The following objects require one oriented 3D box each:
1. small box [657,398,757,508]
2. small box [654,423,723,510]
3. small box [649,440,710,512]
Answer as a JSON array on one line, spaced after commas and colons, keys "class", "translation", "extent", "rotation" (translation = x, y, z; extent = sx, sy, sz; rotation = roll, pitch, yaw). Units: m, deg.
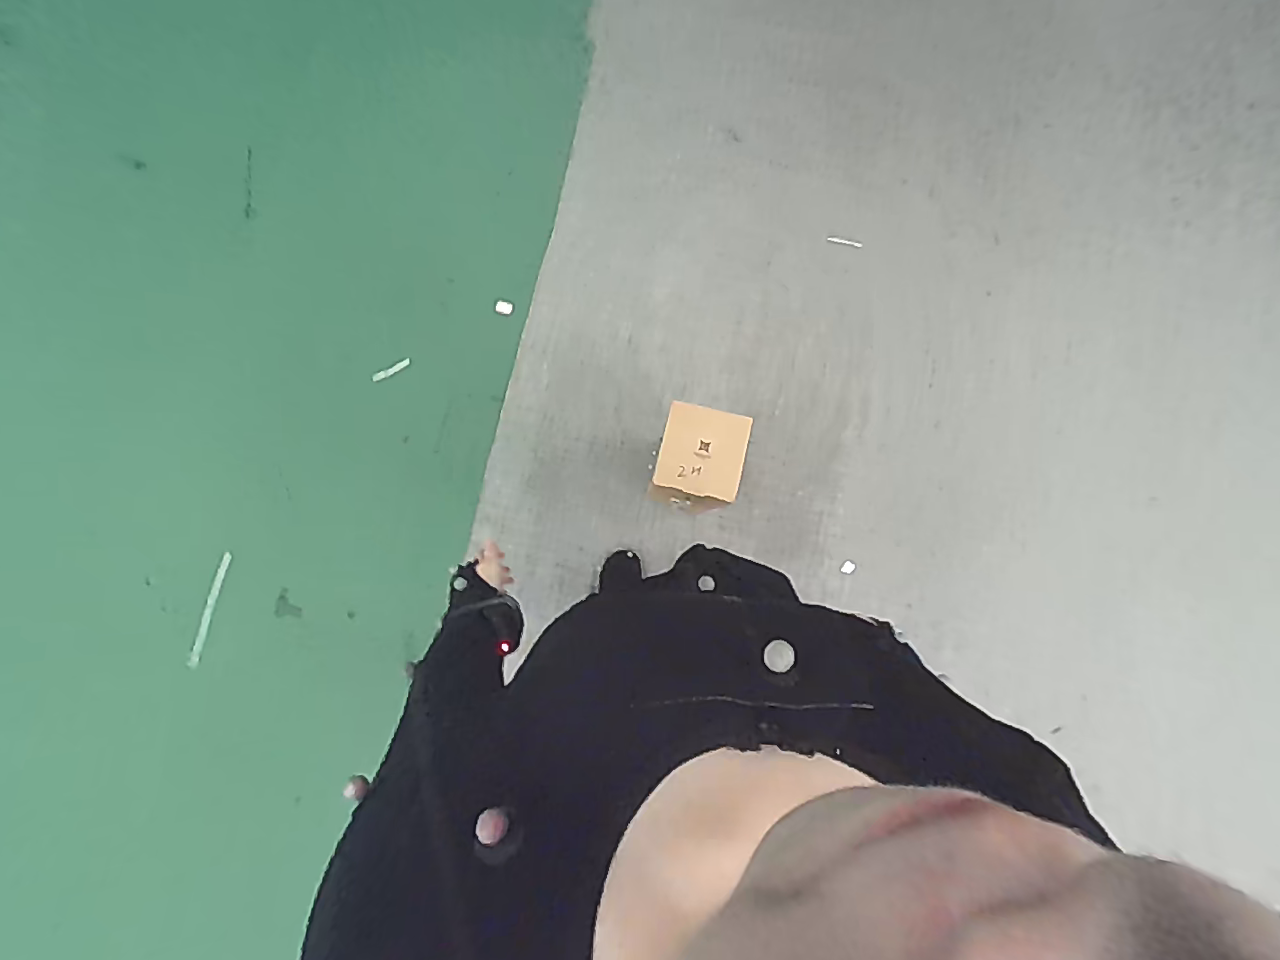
[{"class": "small box", "translation": [0.131, -0.049, 1.121], "extent": [0.168, 0.176, 0.179], "rotation": [14, 83, 3]}, {"class": "small box", "translation": [0.130, -0.034, 1.285], "extent": [0.168, 0.176, 0.179], "rotation": [14, 85, 3]}, {"class": "small box", "translation": [0.128, -0.017, 1.447], "extent": [0.168, 0.176, 0.179], "rotation": [17, 84, 2]}]
